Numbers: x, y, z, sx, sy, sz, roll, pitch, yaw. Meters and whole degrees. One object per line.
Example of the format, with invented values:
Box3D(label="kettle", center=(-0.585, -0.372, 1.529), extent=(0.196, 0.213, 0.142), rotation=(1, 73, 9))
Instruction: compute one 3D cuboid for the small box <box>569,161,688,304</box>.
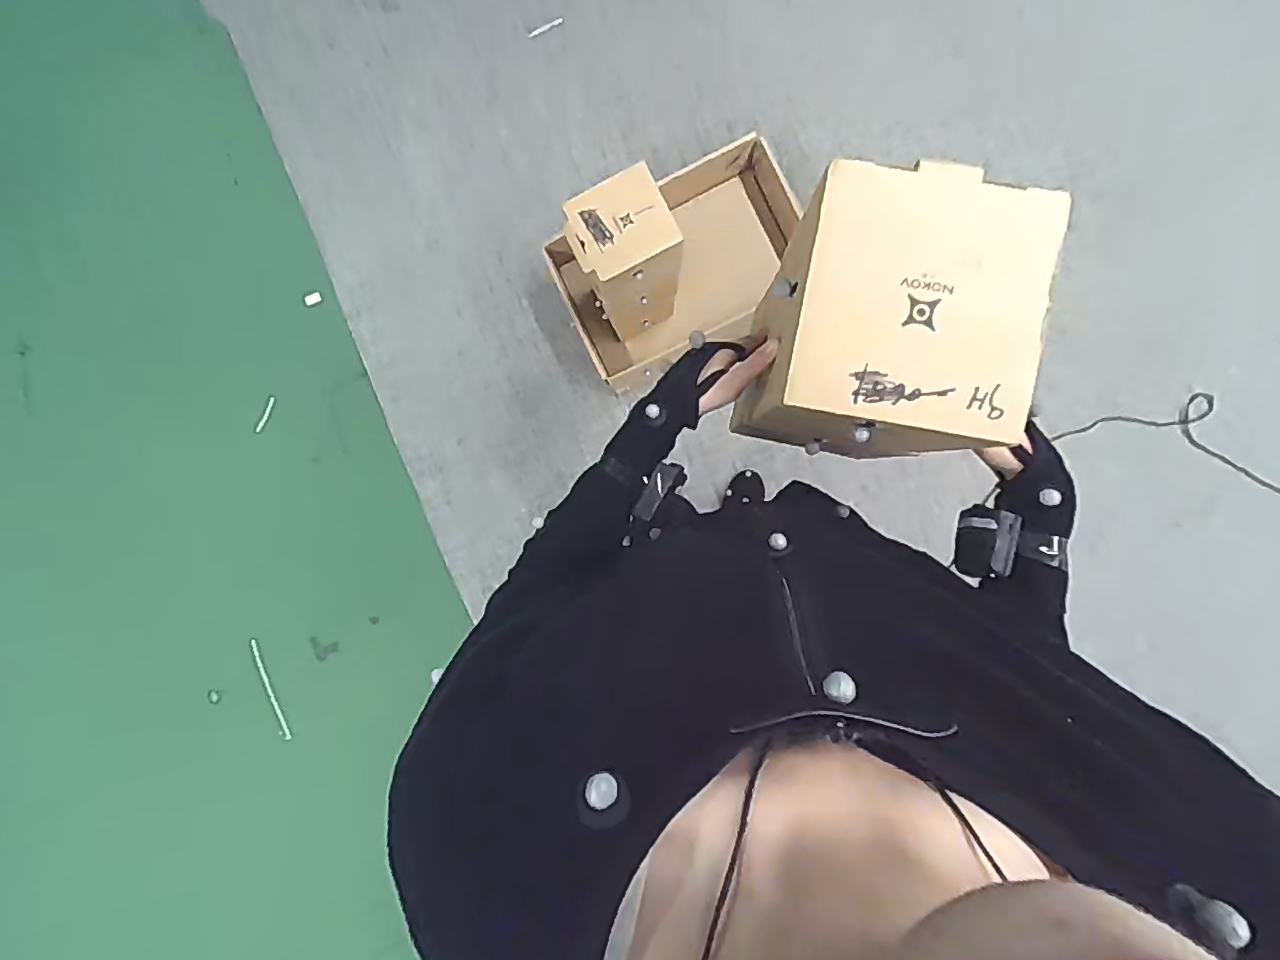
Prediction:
Box3D(label="small box", center=(-0.015, -0.477, 1.075), extent=(0.179, 0.176, 0.168), rotation=(-27, 90, 4))

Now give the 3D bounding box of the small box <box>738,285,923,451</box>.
Box3D(label="small box", center=(0.219, -0.129, 0.617), extent=(0.179, 0.176, 0.168), rotation=(12, 92, 5))

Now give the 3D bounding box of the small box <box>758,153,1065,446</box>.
Box3D(label="small box", center=(0.201, -0.131, 0.454), extent=(0.168, 0.176, 0.179), rotation=(10, 91, 5))

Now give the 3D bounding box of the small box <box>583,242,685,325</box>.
Box3D(label="small box", center=(-0.007, -0.480, 1.238), extent=(0.179, 0.176, 0.168), rotation=(-27, 89, 4))

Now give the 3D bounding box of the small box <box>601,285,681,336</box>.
Box3D(label="small box", center=(0.000, -0.492, 1.401), extent=(0.168, 0.176, 0.179), rotation=(-28, 87, 4))
